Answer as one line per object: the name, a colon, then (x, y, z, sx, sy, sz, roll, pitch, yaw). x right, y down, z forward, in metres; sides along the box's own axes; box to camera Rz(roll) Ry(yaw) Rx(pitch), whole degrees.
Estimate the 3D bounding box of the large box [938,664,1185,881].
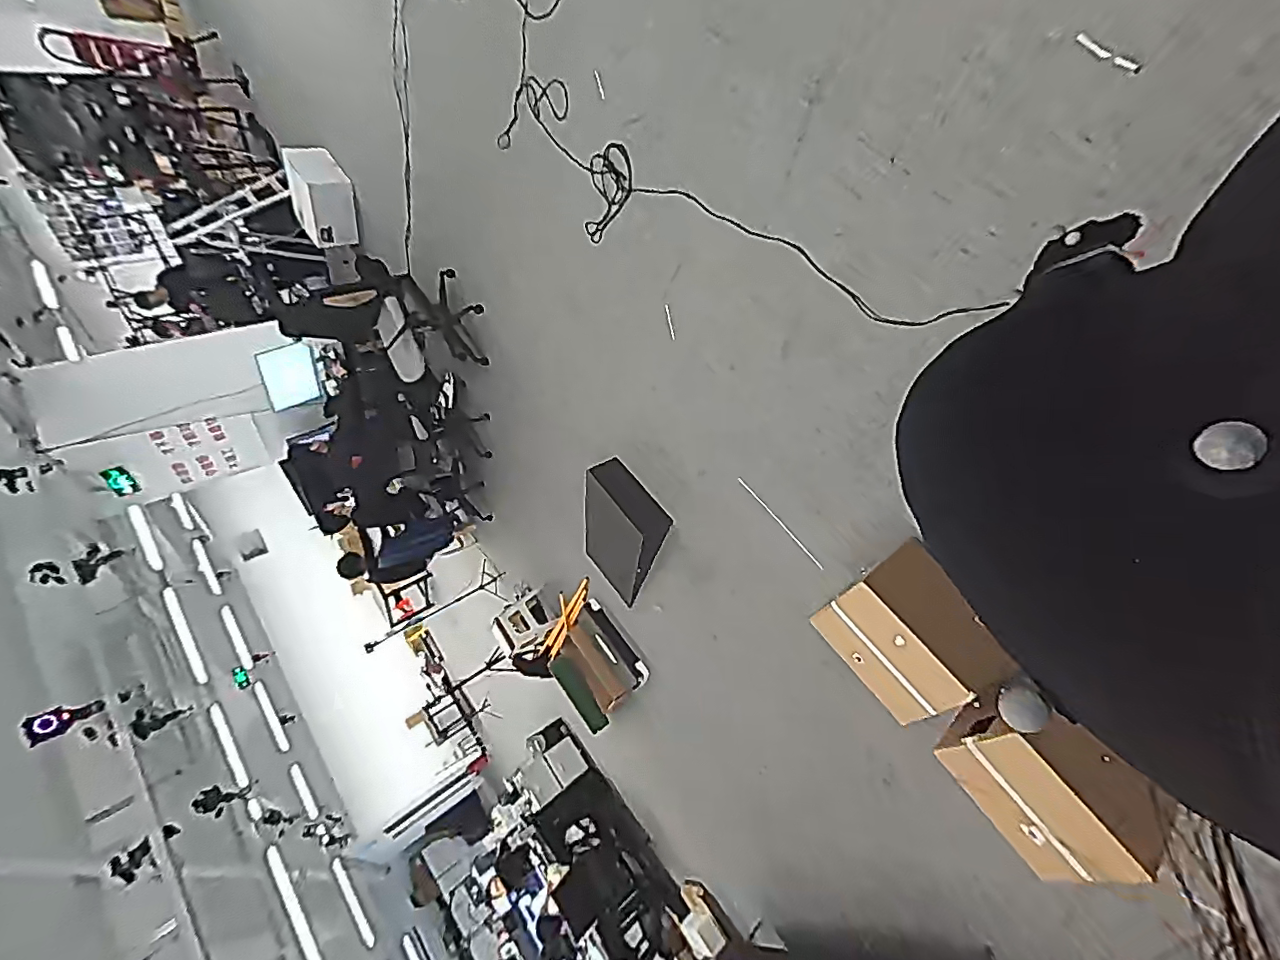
large box: (1.149, 0.798, 1.498, 0.408, 0.320, 0.320, 50, 146, 17)
